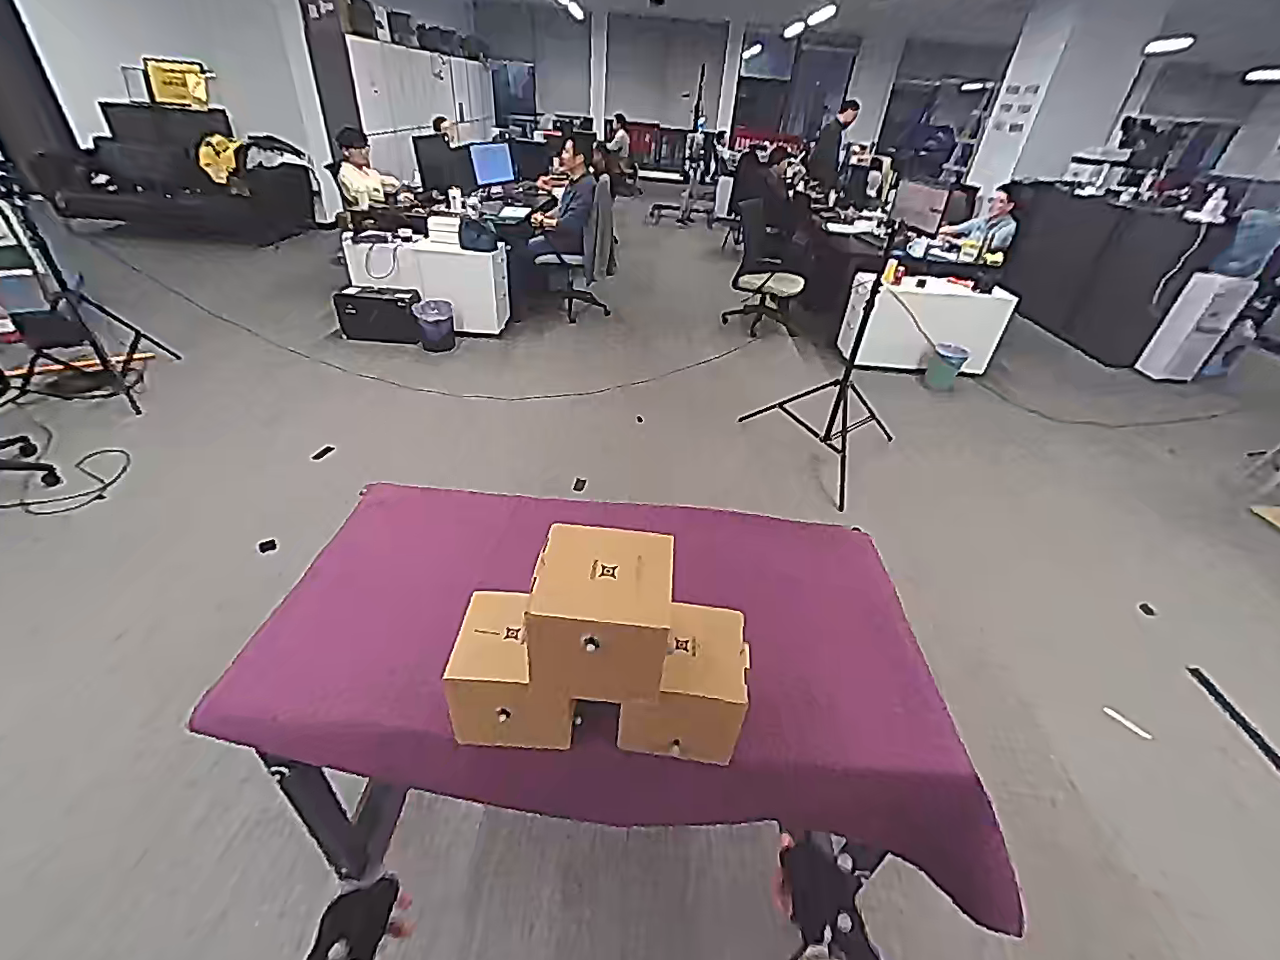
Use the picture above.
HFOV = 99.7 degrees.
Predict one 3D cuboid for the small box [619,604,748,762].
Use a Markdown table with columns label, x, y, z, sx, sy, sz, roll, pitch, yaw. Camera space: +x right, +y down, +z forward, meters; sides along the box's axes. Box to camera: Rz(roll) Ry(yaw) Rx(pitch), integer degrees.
| label | x | y | z | sx | sy | sz | roll | pitch | yaw |
| --- | --- | --- | --- | --- | --- | --- | --- | --- | --- |
| small box | 0.067 | 0.319 | 0.855 | 0.179 | 0.176 | 0.168 | 6 | 34 | 4 |

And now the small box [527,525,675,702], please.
| label | x | y | z | sx | sy | sz | roll | pitch | yaw |
| --- | --- | --- | --- | --- | --- | --- | --- | --- | --- |
| small box | -0.049 | 0.184 | 0.746 | 0.179 | 0.176 | 0.168 | 6 | 36 | 0 |

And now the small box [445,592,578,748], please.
| label | x | y | z | sx | sy | sz | roll | pitch | yaw |
| --- | --- | --- | --- | --- | --- | --- | --- | --- | --- |
| small box | -0.183 | 0.299 | 0.850 | 0.179 | 0.176 | 0.168 | 3 | 34 | -1 |
